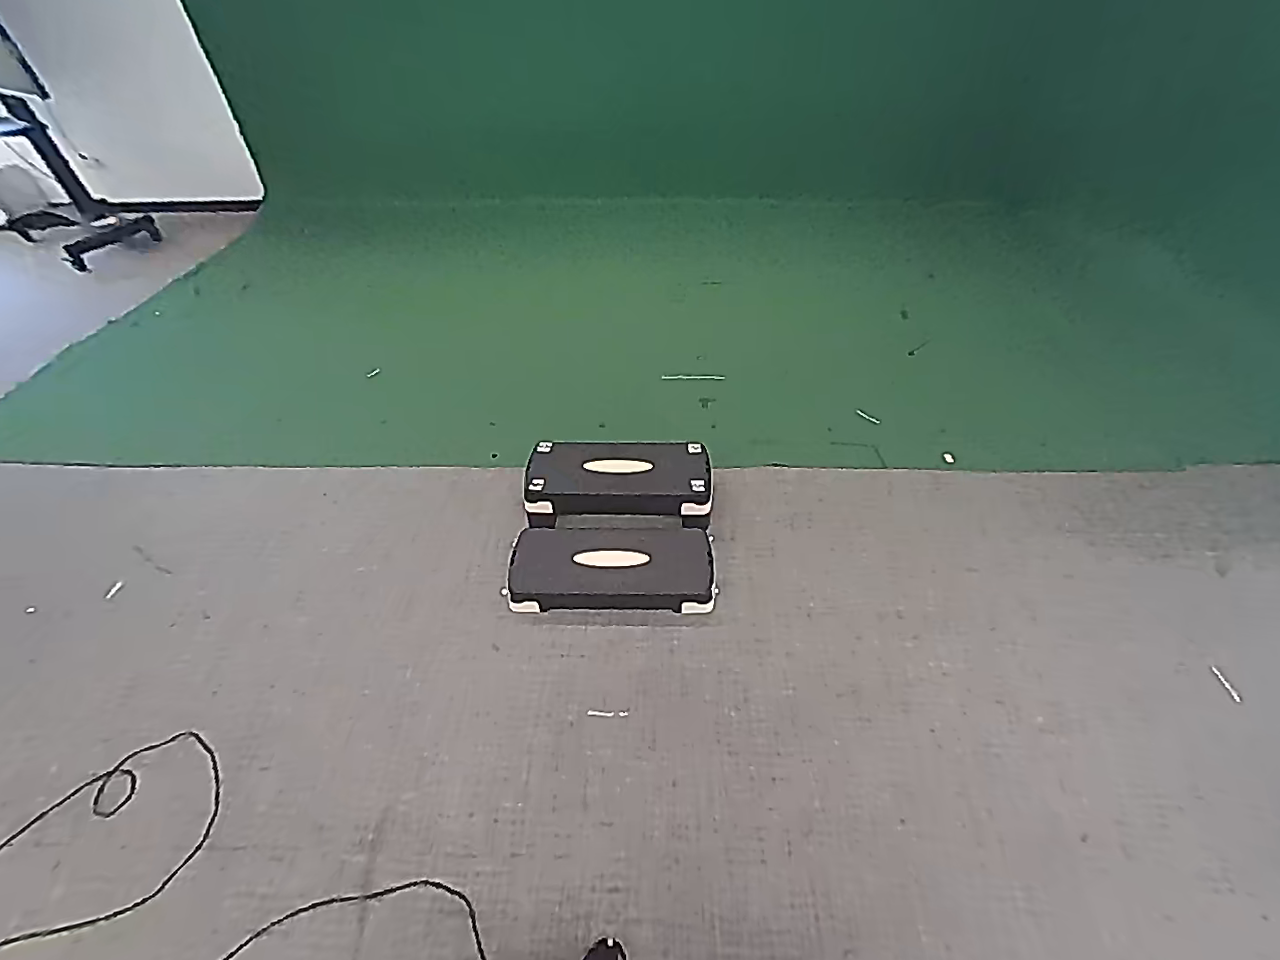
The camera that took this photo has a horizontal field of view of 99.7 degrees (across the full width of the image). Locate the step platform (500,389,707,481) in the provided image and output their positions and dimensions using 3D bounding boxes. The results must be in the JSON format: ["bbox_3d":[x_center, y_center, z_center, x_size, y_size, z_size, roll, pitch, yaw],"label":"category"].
[{"bbox_3d":[-0.117,-0.154,1.871,0.684,0.204,0.286,0,45,2],"label":"step platform"}]
